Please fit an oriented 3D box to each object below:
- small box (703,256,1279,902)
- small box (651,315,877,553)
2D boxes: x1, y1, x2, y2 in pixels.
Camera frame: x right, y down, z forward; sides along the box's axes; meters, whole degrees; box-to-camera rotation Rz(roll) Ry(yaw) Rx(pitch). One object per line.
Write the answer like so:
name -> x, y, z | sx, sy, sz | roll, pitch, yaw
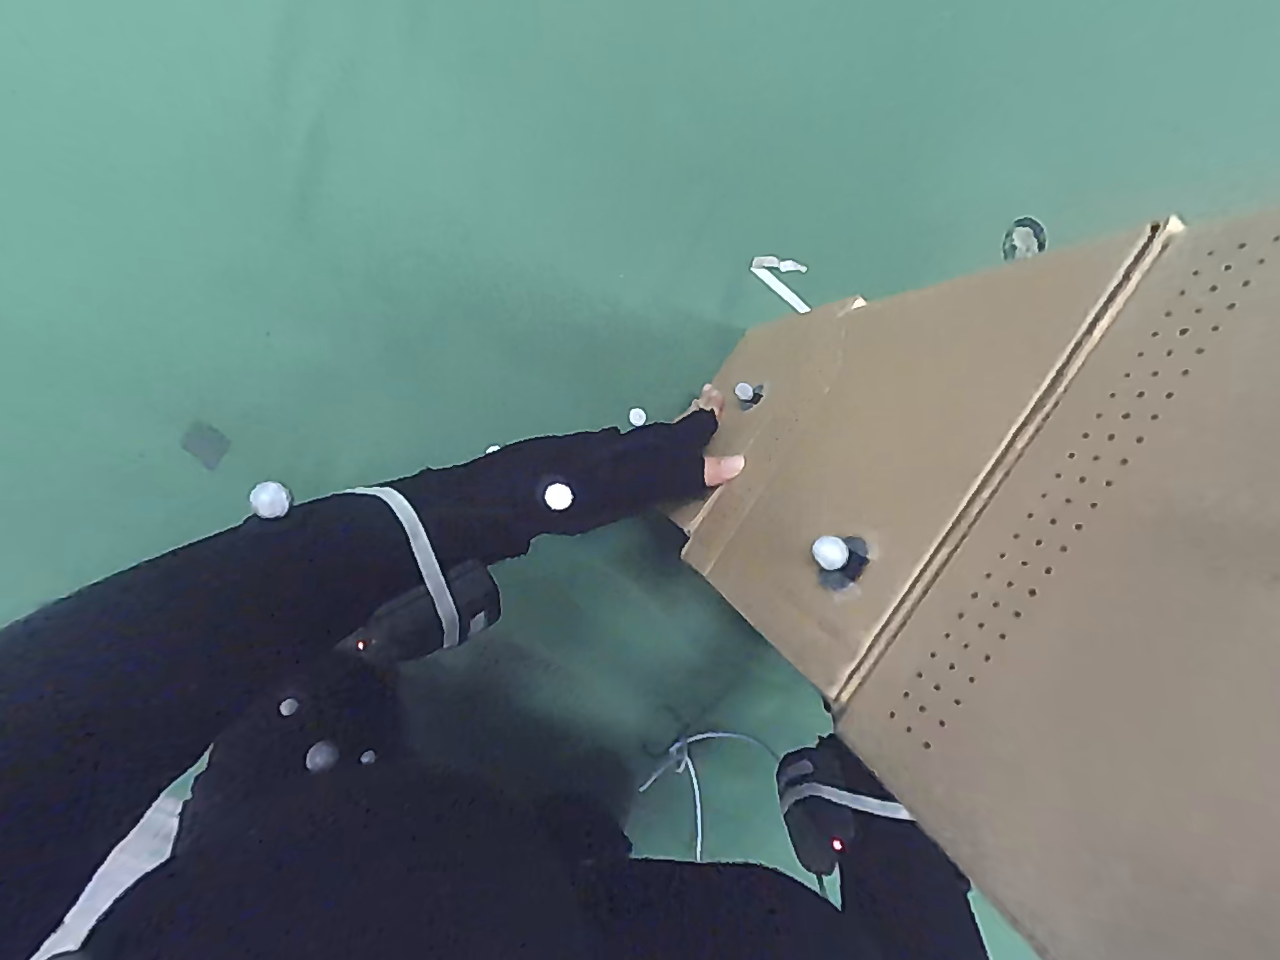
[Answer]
small box -> 0.154, 0.033, 0.259 | 0.168, 0.176, 0.179 | 33, 92, -14
small box -> 0.127, 0.003, 0.417 | 0.168, 0.176, 0.179 | 36, 91, -13
